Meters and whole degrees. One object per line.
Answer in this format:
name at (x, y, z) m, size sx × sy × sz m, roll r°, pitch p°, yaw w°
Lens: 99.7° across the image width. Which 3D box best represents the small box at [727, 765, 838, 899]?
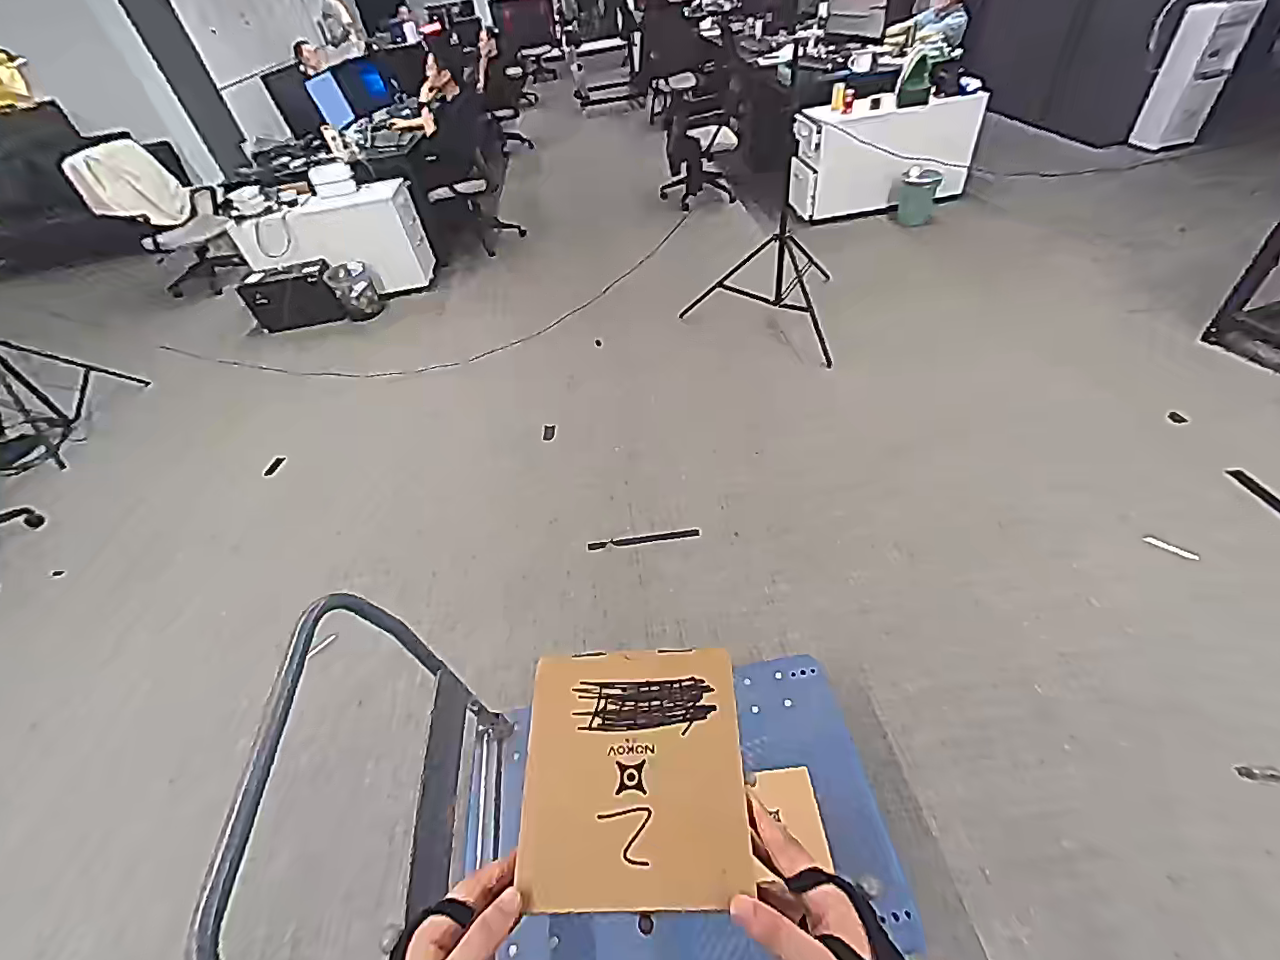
small box at (0.261, 0.674, 1.036) m, size 0.168 × 0.176 × 0.179 m, roll -9°, pitch 44°, yaw 3°
